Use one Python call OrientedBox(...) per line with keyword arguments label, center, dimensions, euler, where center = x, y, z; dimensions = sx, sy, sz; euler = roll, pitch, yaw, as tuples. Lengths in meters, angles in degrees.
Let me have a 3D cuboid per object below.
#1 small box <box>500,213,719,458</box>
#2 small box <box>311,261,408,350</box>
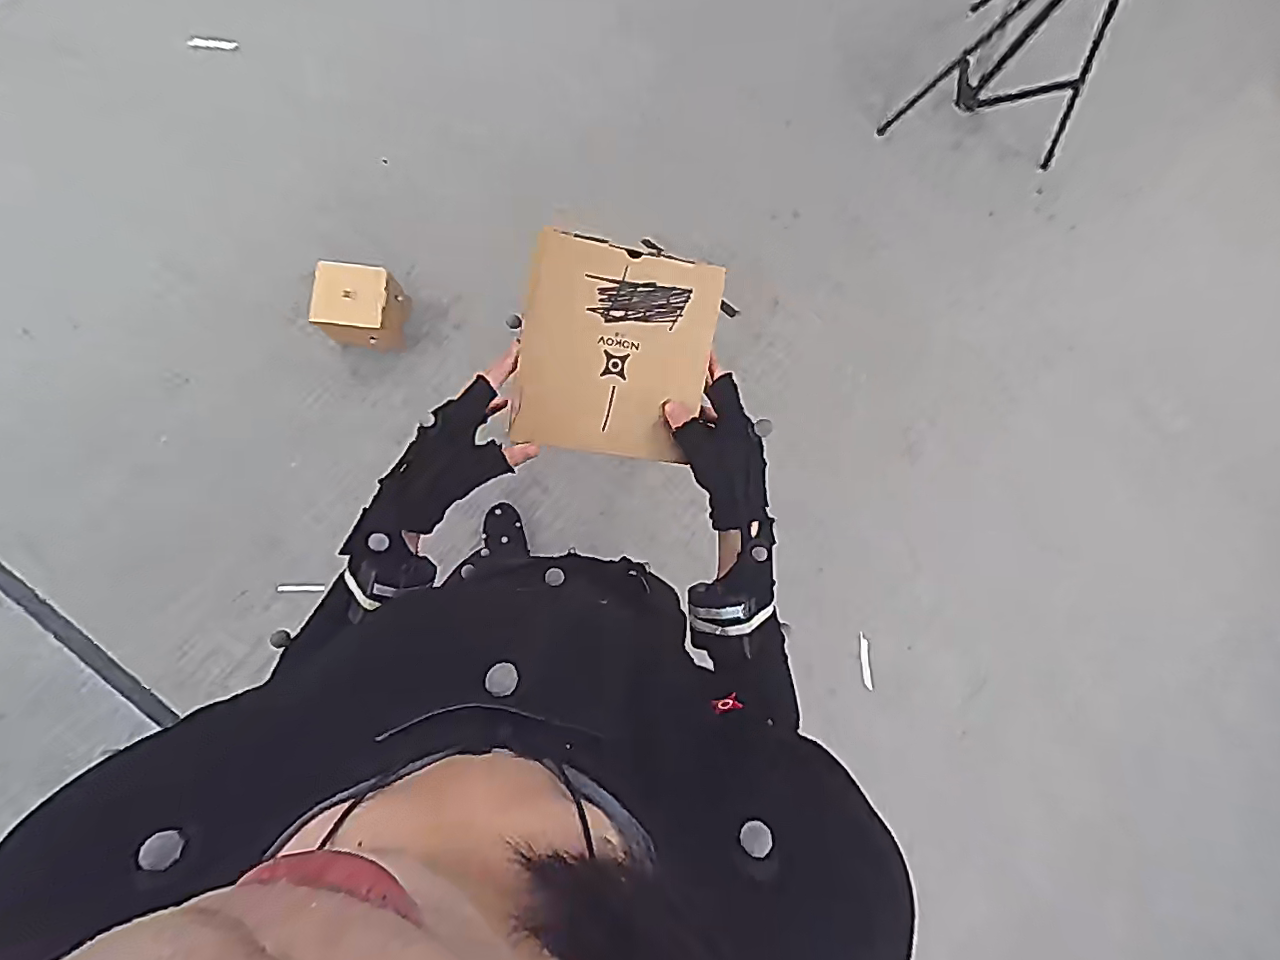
OrientedBox(label="small box", center=(-0.042, -0.131, 0.524), dimensions=(0.168, 0.176, 0.179), euler=(7, 103, -14))
OrientedBox(label="small box", center=(-0.740, -0.457, 1.447), dimensions=(0.179, 0.176, 0.168), euler=(5, 82, -5))
